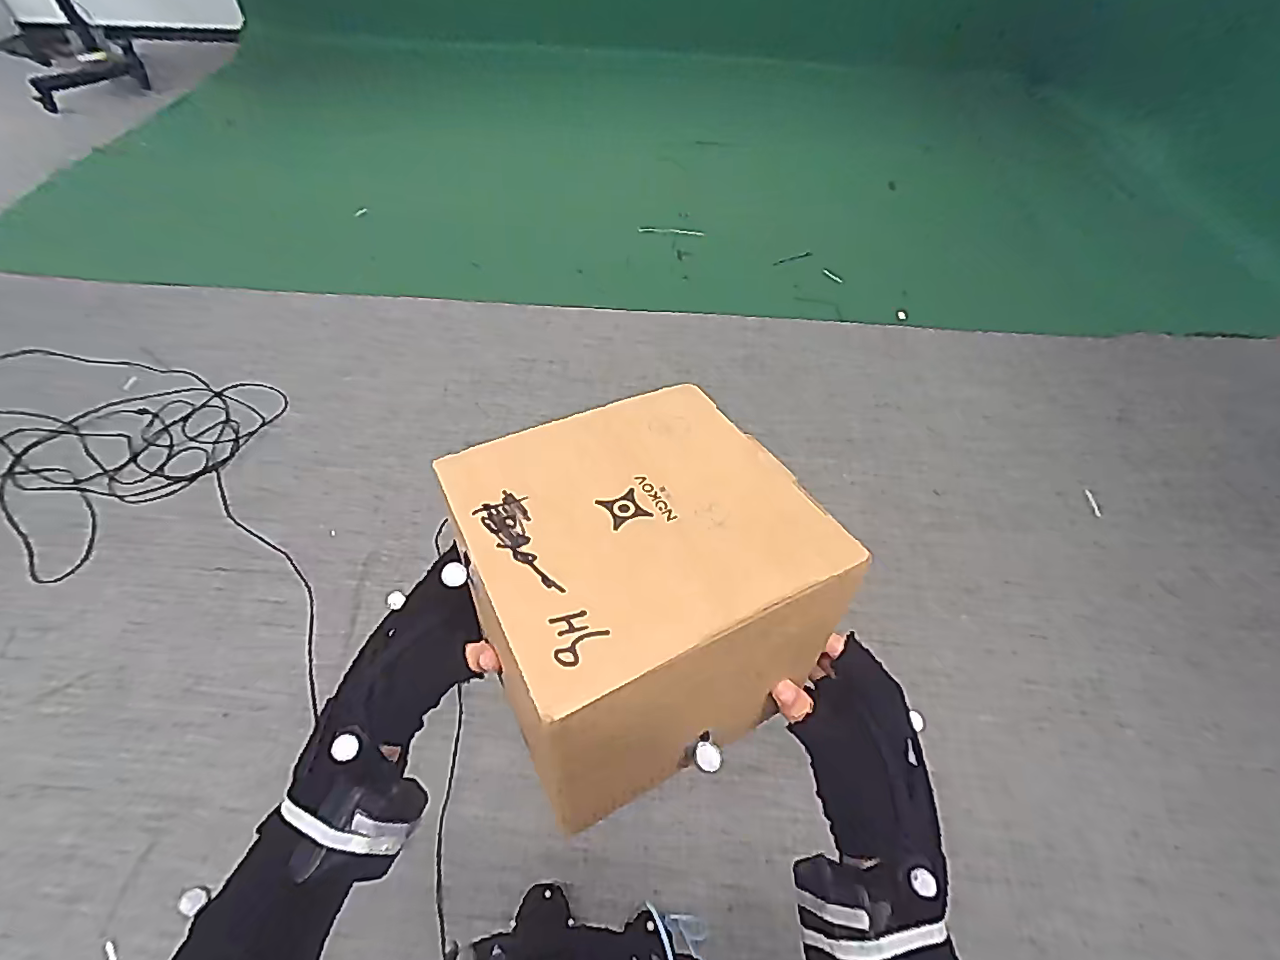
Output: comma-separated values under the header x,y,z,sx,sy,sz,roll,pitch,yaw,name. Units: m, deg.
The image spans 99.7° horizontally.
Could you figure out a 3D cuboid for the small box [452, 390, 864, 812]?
x,y,z,sx,sy,sz,roll,pitch,yaw,name
-0.001,0.072,0.349,0.179,0.176,0.168,-19,48,-22,small box
